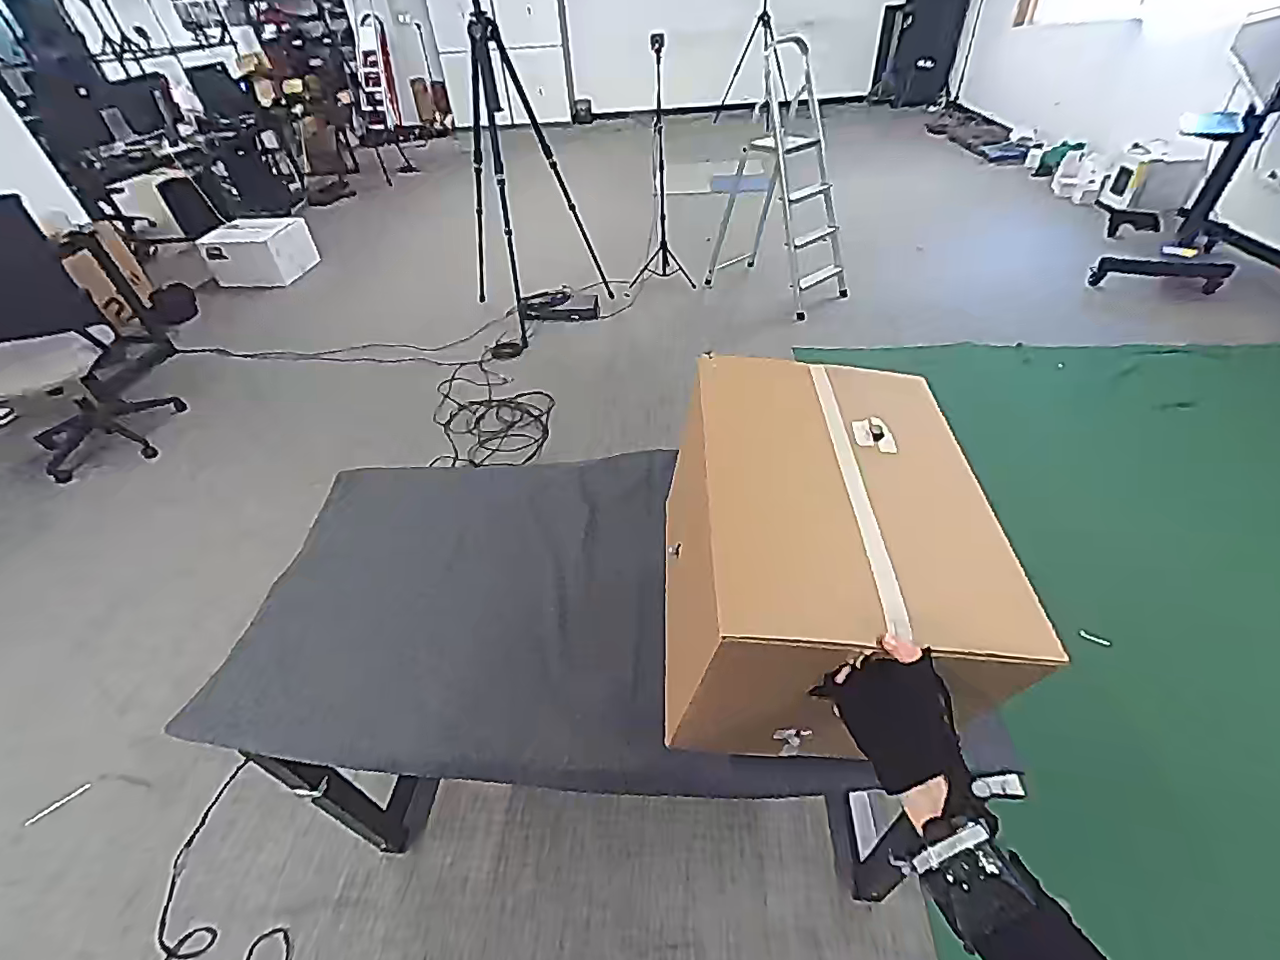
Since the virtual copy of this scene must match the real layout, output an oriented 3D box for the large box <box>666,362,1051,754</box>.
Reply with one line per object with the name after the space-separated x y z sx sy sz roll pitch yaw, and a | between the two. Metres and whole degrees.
0.203 0.098 0.708 0.320 0.320 0.408 6 47 -3 | large box
